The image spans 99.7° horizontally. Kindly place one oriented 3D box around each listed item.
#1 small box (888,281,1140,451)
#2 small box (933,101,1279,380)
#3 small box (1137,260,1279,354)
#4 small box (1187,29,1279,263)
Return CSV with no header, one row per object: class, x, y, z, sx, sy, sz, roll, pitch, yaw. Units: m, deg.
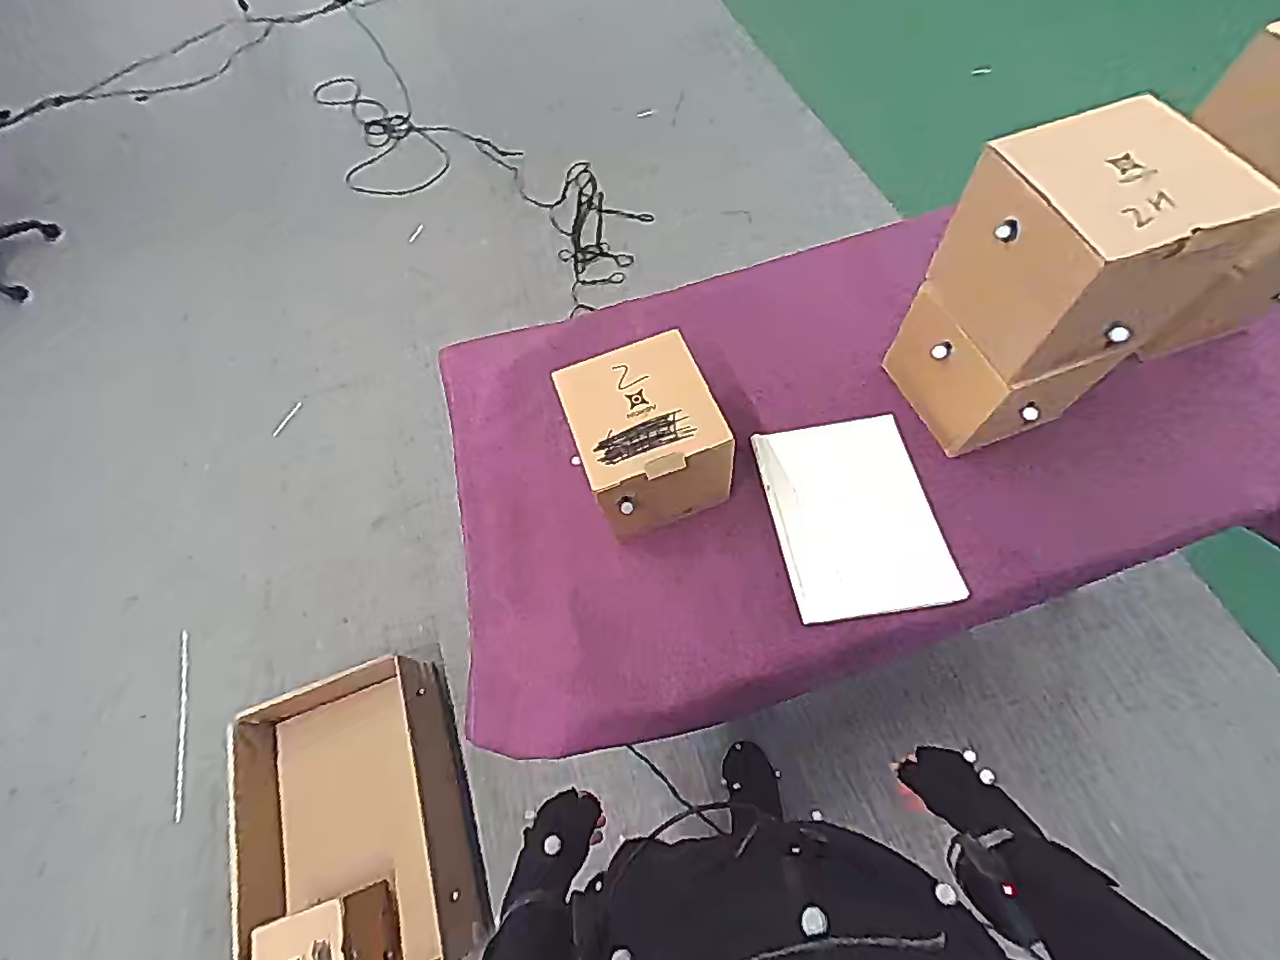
small box,0.456,-0.157,0.696,0.168,0.176,0.179,-20,63,-3
small box,0.439,-0.234,0.551,0.168,0.176,0.179,-17,64,-1
small box,0.746,-0.291,0.724,0.168,0.176,0.179,-17,64,-2
small box,0.724,-0.358,0.576,0.168,0.176,0.179,-17,65,-3
